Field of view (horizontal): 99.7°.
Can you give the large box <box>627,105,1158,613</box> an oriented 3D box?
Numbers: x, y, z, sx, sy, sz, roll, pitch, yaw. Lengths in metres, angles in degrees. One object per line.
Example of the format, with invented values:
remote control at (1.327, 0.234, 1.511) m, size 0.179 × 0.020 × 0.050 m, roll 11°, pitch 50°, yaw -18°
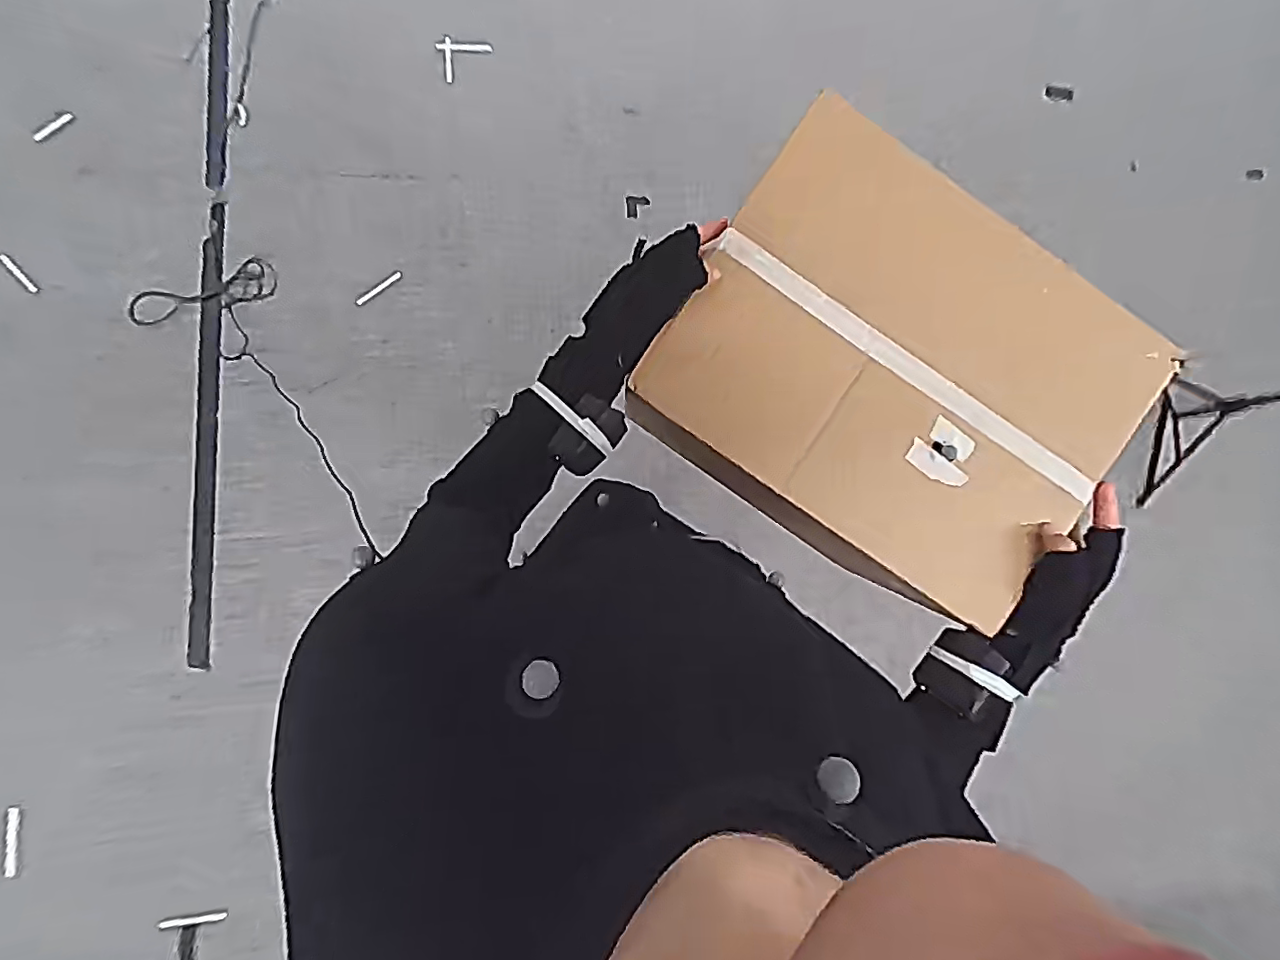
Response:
large box at (0.232, -0.112, 0.645) m, size 0.408 × 0.320 × 0.320 m, roll 35°, pitch 91°, yaw -3°
